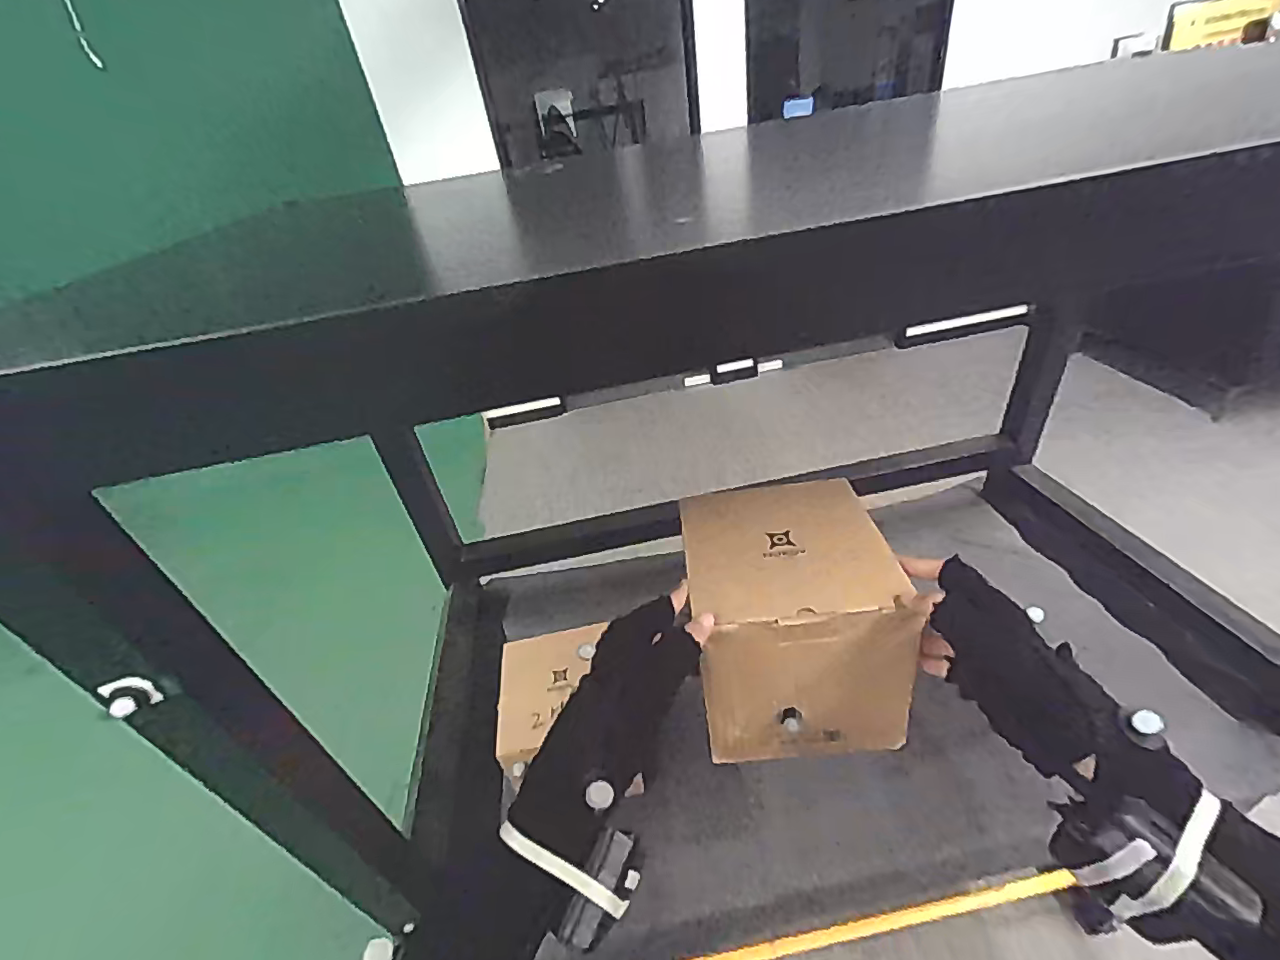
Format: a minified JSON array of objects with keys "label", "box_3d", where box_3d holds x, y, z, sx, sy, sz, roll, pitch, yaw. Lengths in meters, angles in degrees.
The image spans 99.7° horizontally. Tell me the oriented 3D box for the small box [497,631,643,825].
[{"label":"small box","box_3d":[-0.095,0.350,0.774,0.168,0.176,0.179,-12,34,-2]}]
